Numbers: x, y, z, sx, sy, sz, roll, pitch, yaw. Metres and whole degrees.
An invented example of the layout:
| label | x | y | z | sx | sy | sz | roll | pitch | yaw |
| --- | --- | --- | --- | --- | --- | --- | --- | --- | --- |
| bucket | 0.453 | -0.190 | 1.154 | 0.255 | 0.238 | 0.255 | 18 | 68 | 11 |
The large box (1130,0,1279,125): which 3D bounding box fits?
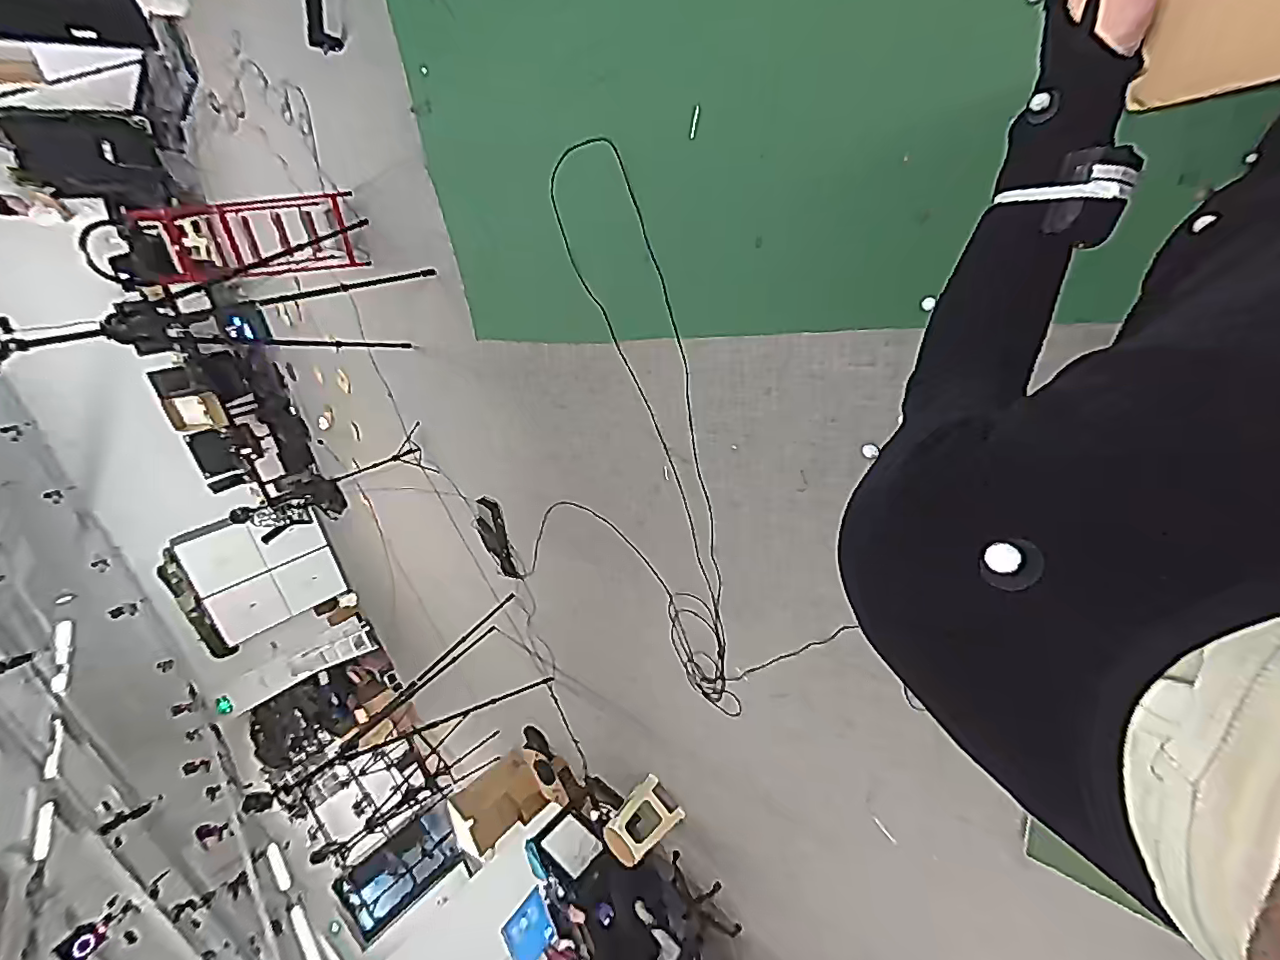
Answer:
| label | x | y | z | sx | sy | sz | roll | pitch | yaw |
| --- | --- | --- | --- | --- | --- | --- | --- | --- | --- |
| large box | 0.591 | -0.446 | 0.316 | 0.408 | 0.320 | 0.320 | 12 | 123 | 45 |
